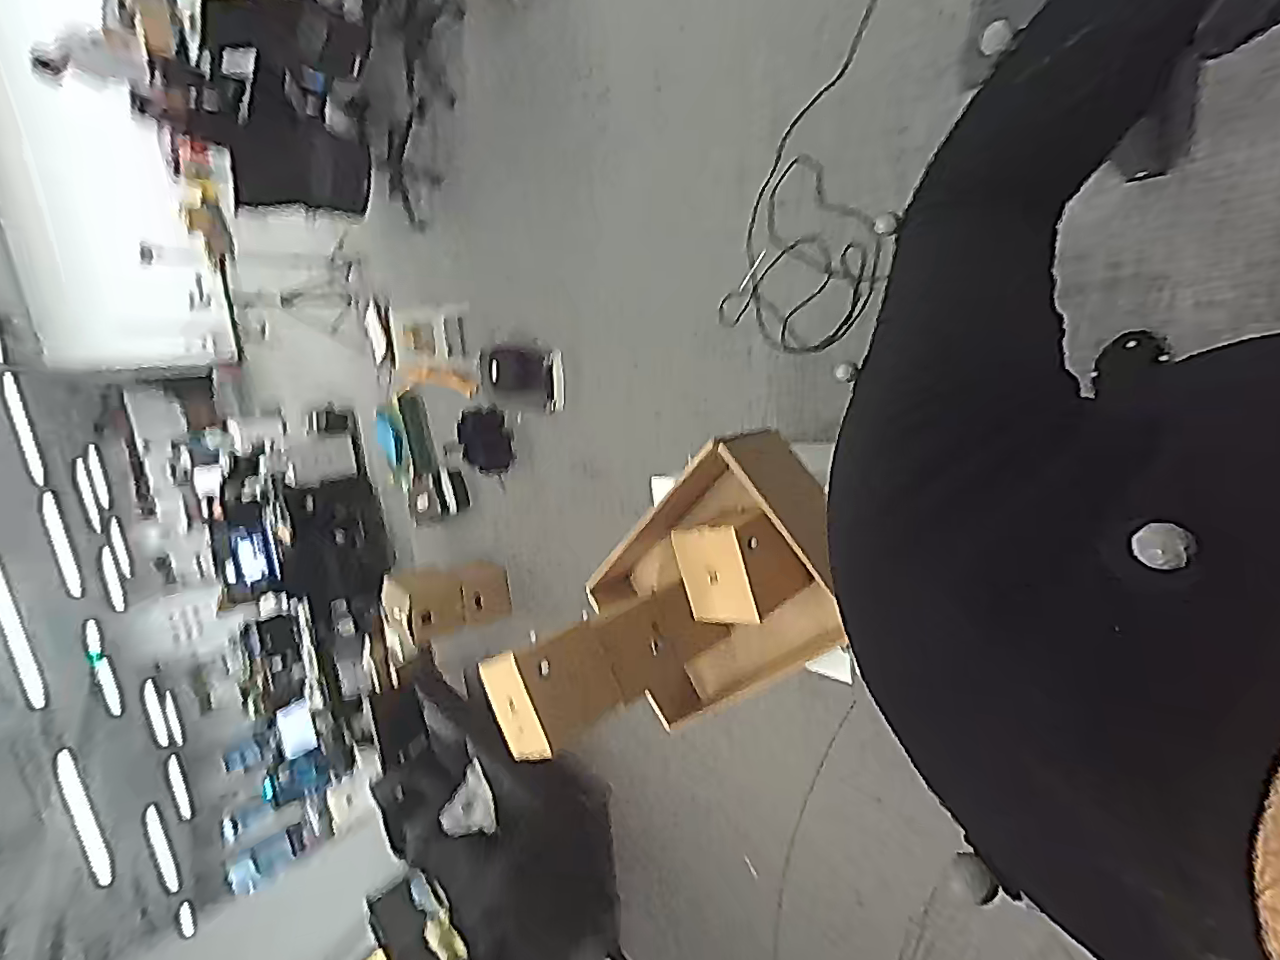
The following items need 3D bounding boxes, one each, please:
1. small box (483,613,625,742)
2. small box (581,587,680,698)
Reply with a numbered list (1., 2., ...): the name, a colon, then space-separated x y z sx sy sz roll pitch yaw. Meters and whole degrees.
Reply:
1. small box: -0.161 0.364 1.016 0.168 0.176 0.179 -34 78 48
2. small box: -0.048 0.341 1.135 0.179 0.176 0.168 -29 83 47
